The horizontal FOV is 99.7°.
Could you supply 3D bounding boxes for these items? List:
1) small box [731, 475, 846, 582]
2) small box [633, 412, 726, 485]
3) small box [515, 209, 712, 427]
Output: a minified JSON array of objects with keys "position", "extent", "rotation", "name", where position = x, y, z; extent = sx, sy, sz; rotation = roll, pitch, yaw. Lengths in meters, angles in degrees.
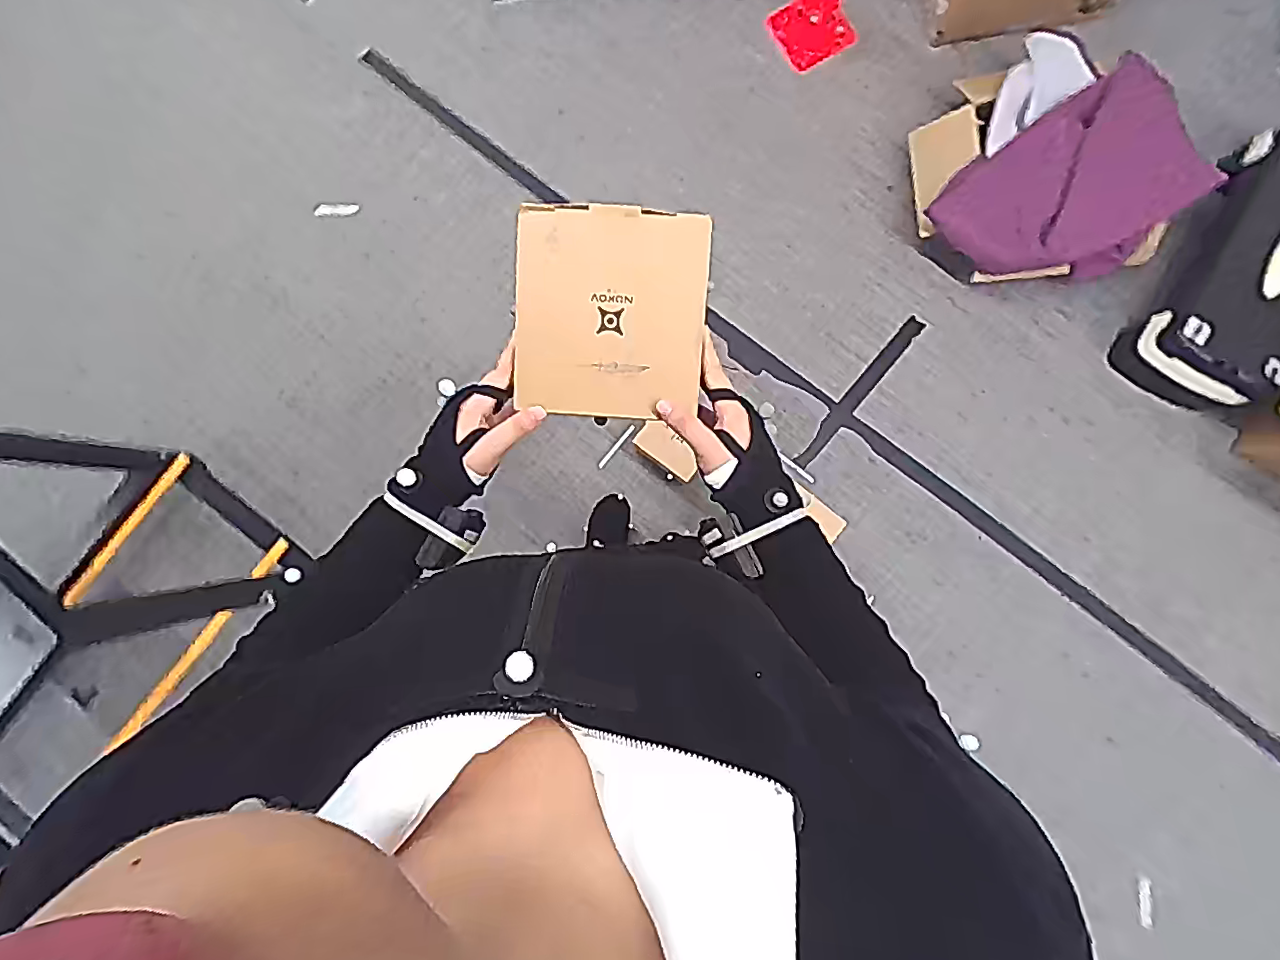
[{"position":[0.328,0.110,1.241],"extent":[0.179,0.176,0.168],"rotation":[39,89,3],"name":"small box"},{"position":[0.103,-0.100,1.426],"extent":[0.179,0.176,0.168],"rotation":[38,89,4],"name":"small box"},{"position":[-0.027,-0.151,0.546],"extent":[0.168,0.176,0.179],"rotation":[3,101,-1],"name":"small box"}]
